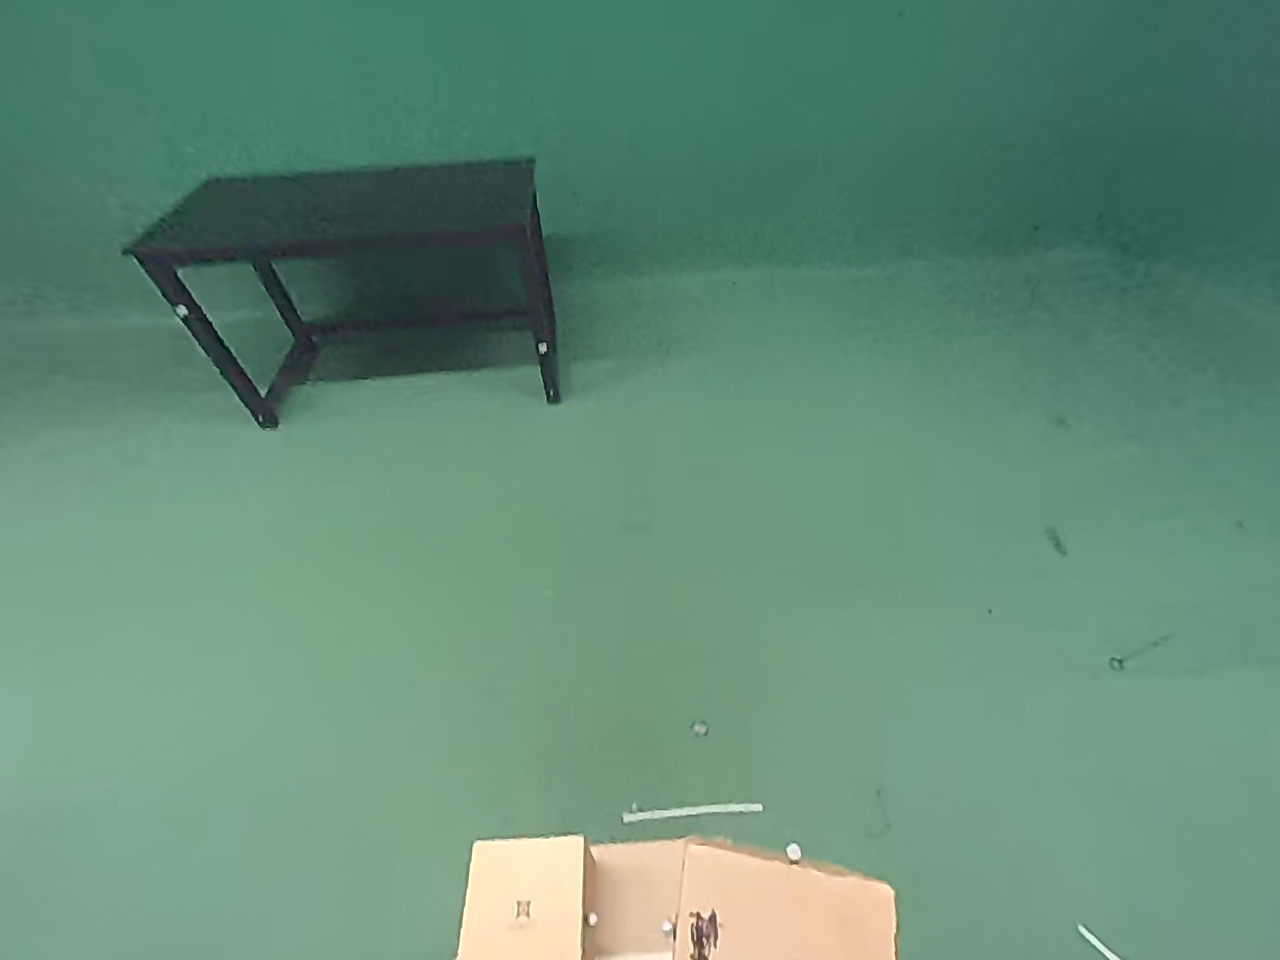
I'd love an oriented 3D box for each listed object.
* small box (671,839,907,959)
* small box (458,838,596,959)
[{"bbox_3d":[0.116,0.427,0.471,0.179,0.176,0.168,6,60,9],"label":"small box"},{"bbox_3d":[-0.155,0.646,0.787,0.168,0.176,0.179,-3,46,0],"label":"small box"}]
